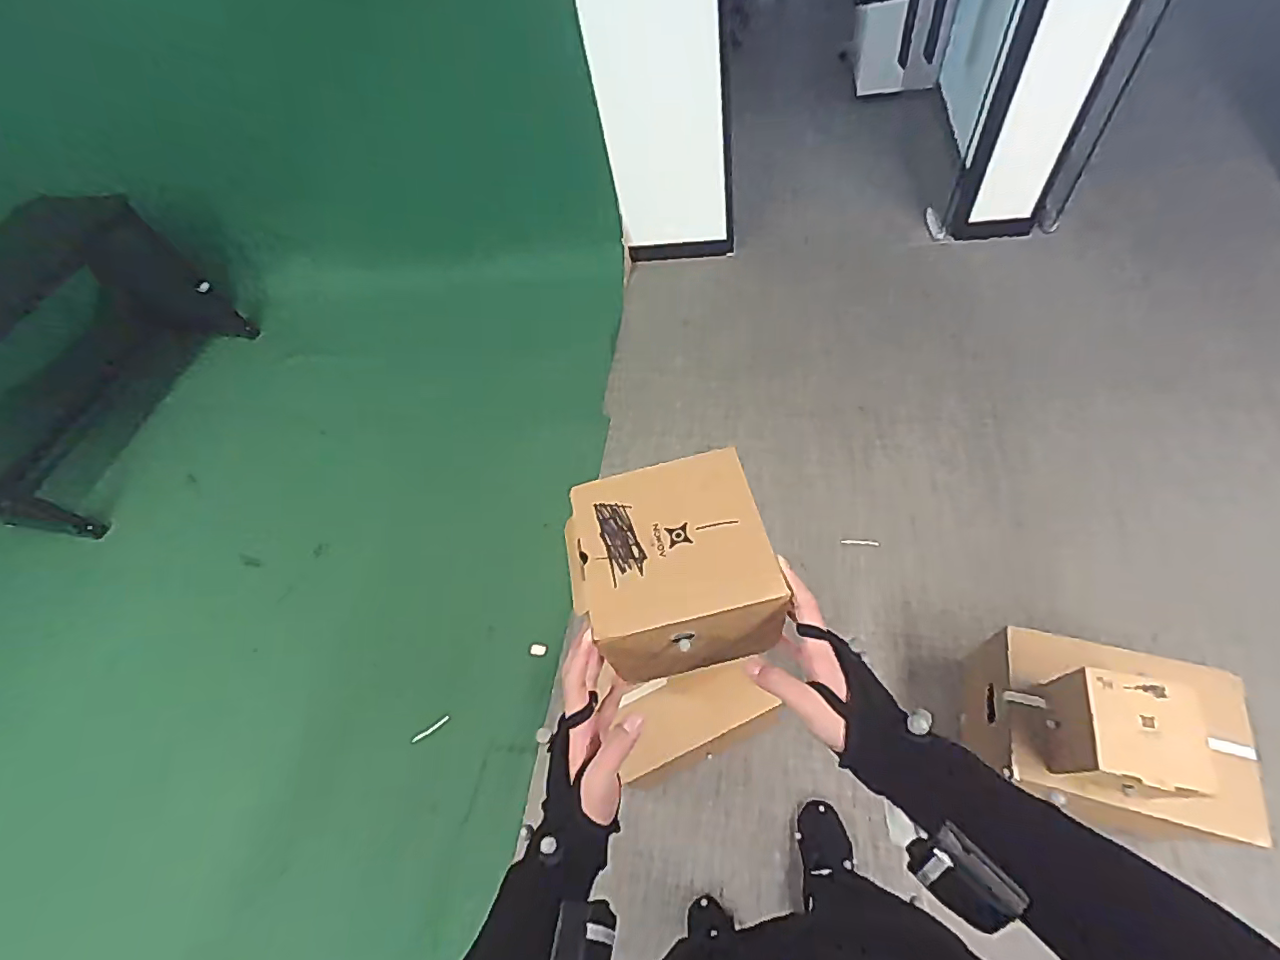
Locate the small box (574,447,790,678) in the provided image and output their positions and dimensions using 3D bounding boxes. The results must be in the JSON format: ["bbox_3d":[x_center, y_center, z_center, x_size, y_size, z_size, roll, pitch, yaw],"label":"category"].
[{"bbox_3d":[0.043,0.095,0.570,0.179,0.176,0.168,-14,57,0],"label":"small box"}]

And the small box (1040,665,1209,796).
[{"bbox_3d":[0.868,0.461,0.991,0.168,0.176,0.179,8,62,15],"label":"small box"}]

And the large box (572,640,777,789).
[{"bbox_3d":[0.096,0.539,1.386,0.408,0.320,0.320,-26,57,-4],"label":"large box"}]
